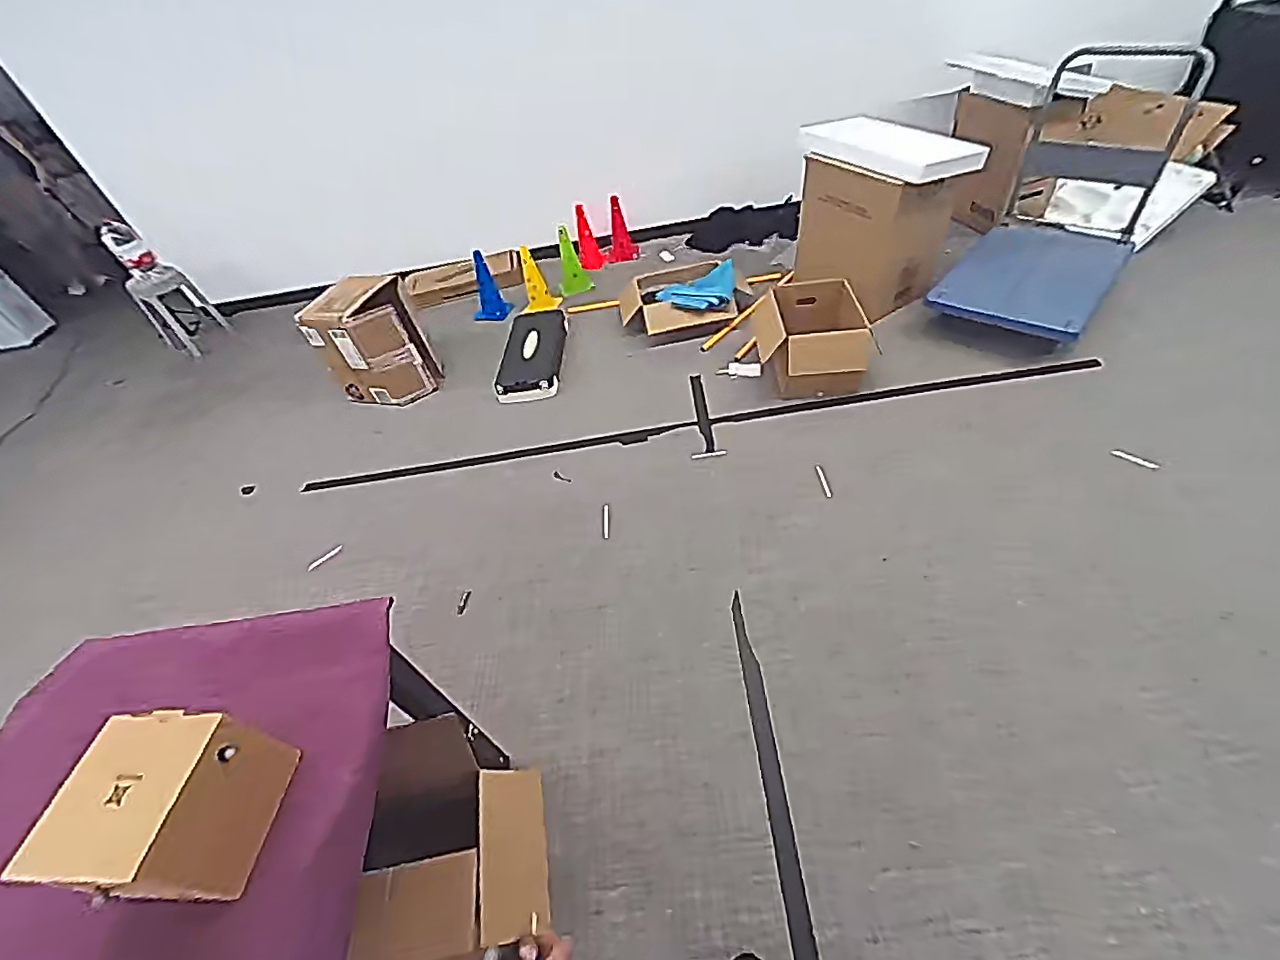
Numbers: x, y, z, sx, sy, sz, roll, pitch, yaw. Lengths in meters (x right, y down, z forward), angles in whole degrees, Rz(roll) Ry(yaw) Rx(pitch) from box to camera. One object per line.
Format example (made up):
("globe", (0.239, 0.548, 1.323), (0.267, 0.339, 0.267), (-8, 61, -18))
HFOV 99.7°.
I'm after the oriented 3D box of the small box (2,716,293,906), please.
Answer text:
("small box", (-0.585, 0.416, 0.678), (0.168, 0.176, 0.179), (-5, 45, 7))
